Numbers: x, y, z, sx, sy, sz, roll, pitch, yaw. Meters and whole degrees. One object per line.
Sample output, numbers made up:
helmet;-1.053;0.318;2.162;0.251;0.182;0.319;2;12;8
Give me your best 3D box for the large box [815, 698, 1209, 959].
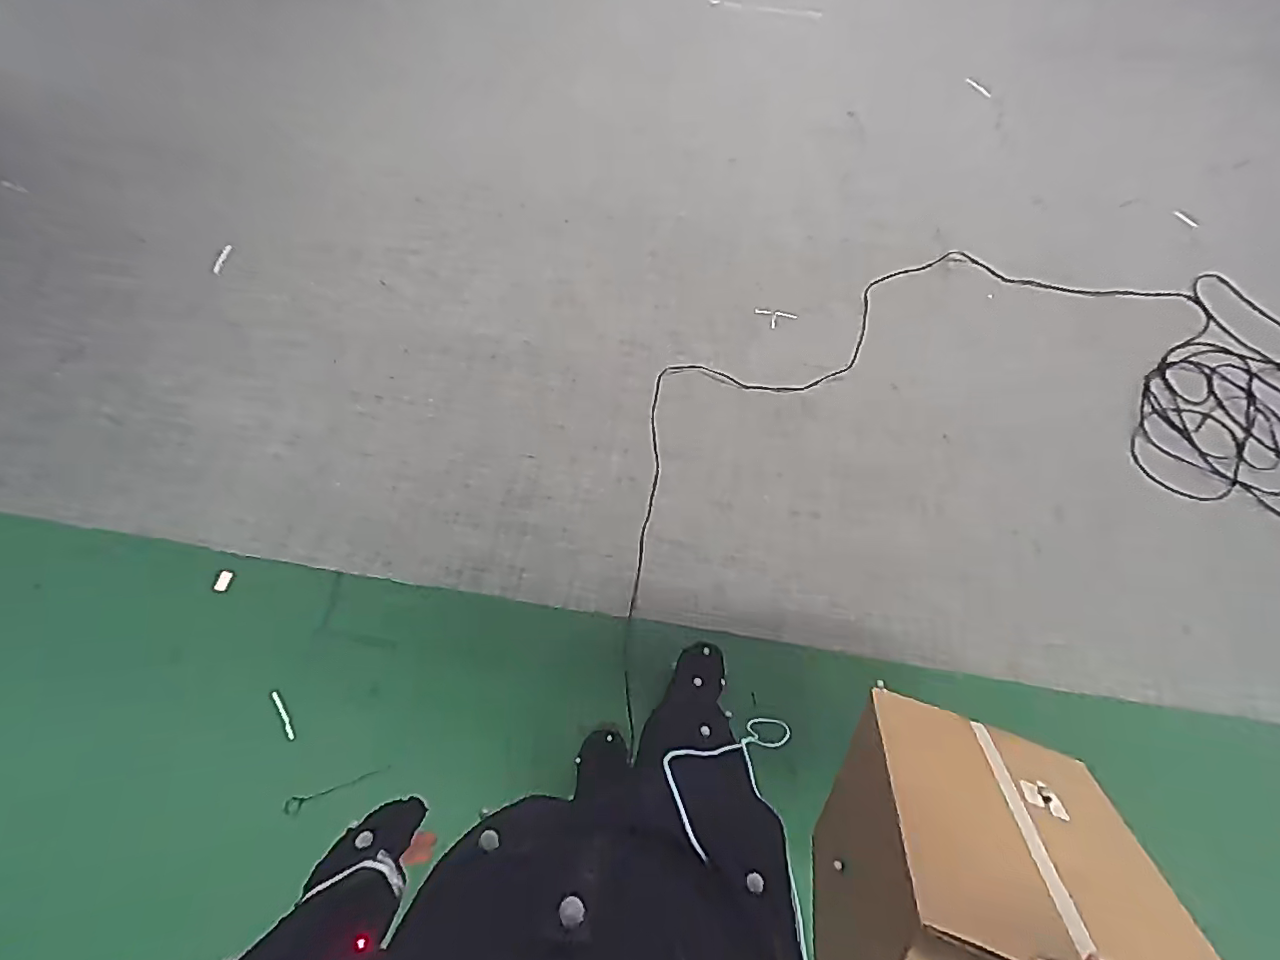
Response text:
large box;0.426;0.573;0.694;0.320;0.408;0.320;18;105;13
